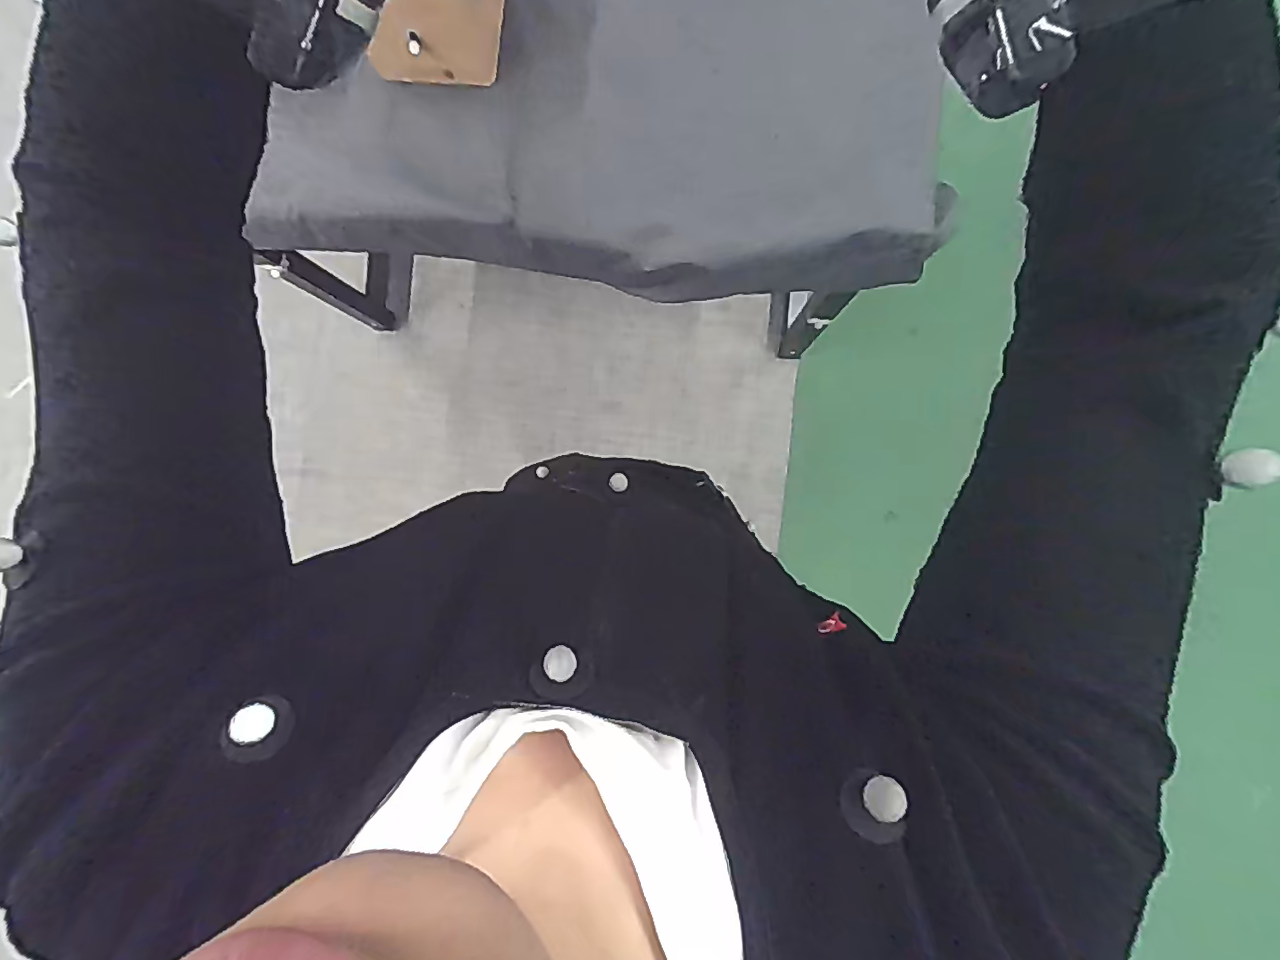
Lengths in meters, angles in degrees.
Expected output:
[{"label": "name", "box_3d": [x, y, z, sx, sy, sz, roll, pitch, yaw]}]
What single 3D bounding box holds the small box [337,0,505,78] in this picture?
[{"label": "small box", "box_3d": [-0.280, -0.659, 0.693, 0.168, 0.176, 0.179, 6, 90, 3]}]
